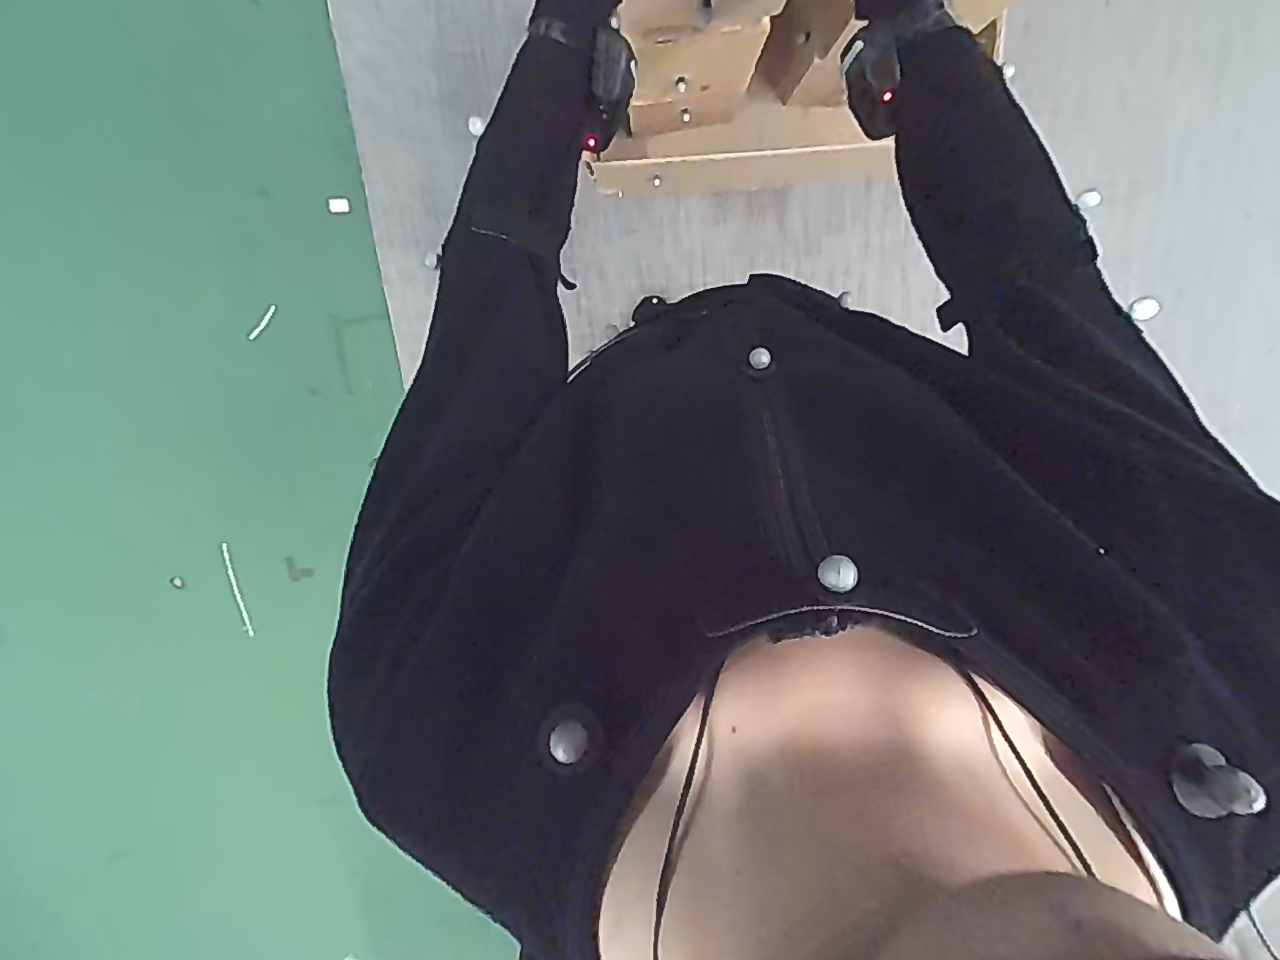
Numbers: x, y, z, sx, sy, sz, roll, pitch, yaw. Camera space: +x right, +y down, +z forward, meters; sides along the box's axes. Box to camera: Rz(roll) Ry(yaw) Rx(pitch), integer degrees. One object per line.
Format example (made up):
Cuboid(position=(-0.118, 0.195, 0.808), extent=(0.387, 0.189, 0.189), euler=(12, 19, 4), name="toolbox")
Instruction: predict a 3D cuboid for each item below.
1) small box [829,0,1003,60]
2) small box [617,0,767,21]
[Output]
Cuboid(position=(0.340, -0.635, 0.647), extent=(0.179, 0.176, 0.168), euler=(0, 106, 1), name="small box")
Cuboid(position=(0.058, -0.551, 0.480), extent=(0.179, 0.176, 0.168), euler=(-4, 107, 2), name="small box")
